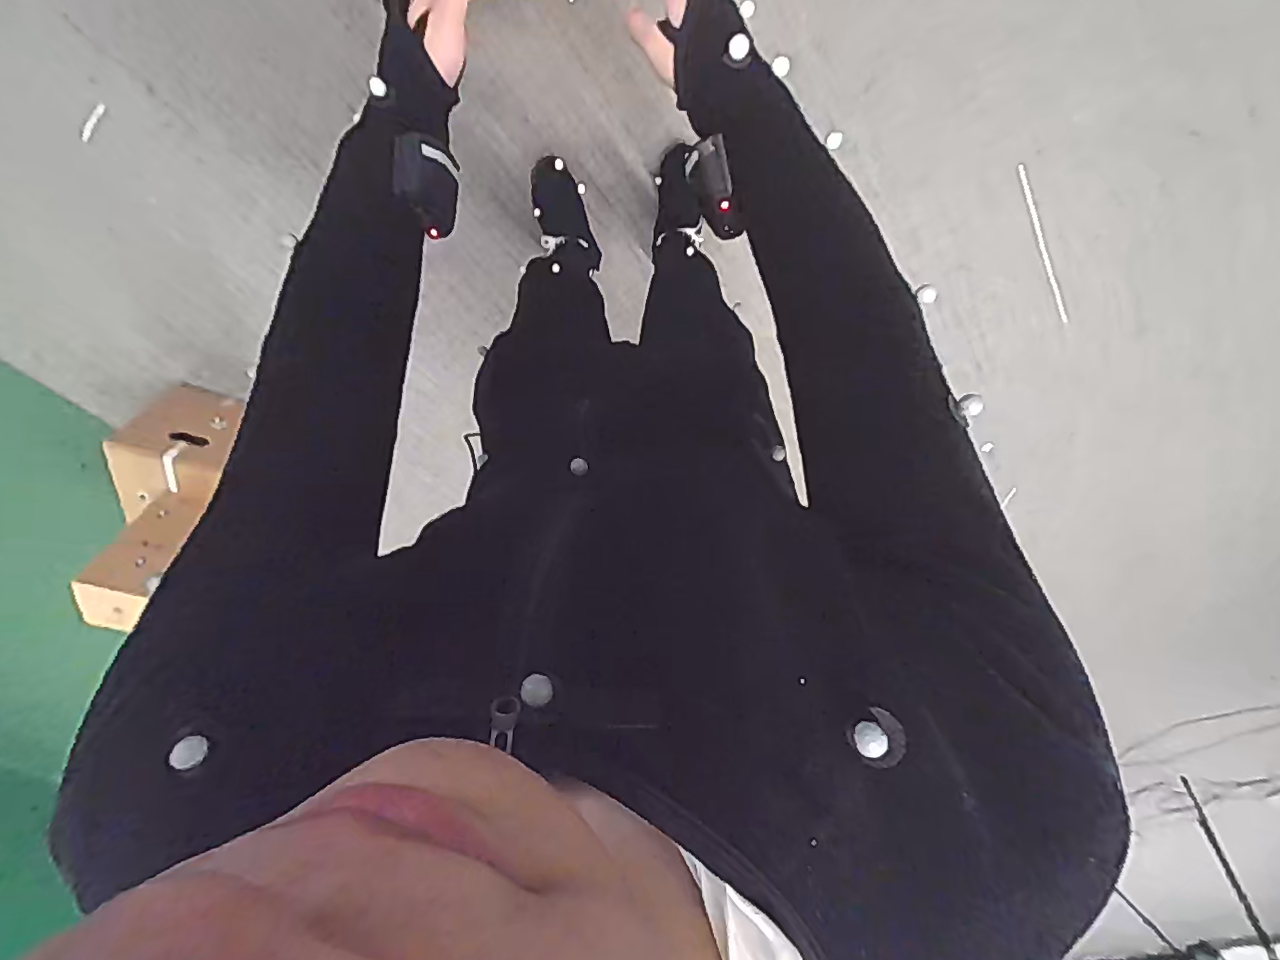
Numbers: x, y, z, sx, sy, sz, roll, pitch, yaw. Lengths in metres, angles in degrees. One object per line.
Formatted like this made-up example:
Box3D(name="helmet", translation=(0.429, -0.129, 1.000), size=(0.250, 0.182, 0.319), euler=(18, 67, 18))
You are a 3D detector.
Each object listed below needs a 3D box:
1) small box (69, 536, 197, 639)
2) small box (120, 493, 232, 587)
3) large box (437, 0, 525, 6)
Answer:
Box3D(name="small box", translation=(-1.267, 0.270, 1.368), size=(0.168, 0.176, 0.179), euler=(19, 128, -14))
Box3D(name="small box", translation=(-1.268, 0.163, 1.493), size=(0.168, 0.176, 0.179), euler=(16, 129, -14))
Box3D(name="large box", translation=(-0.139, -0.984, 0.858), size=(0.408, 0.320, 0.320), euler=(-4, 129, 4))
